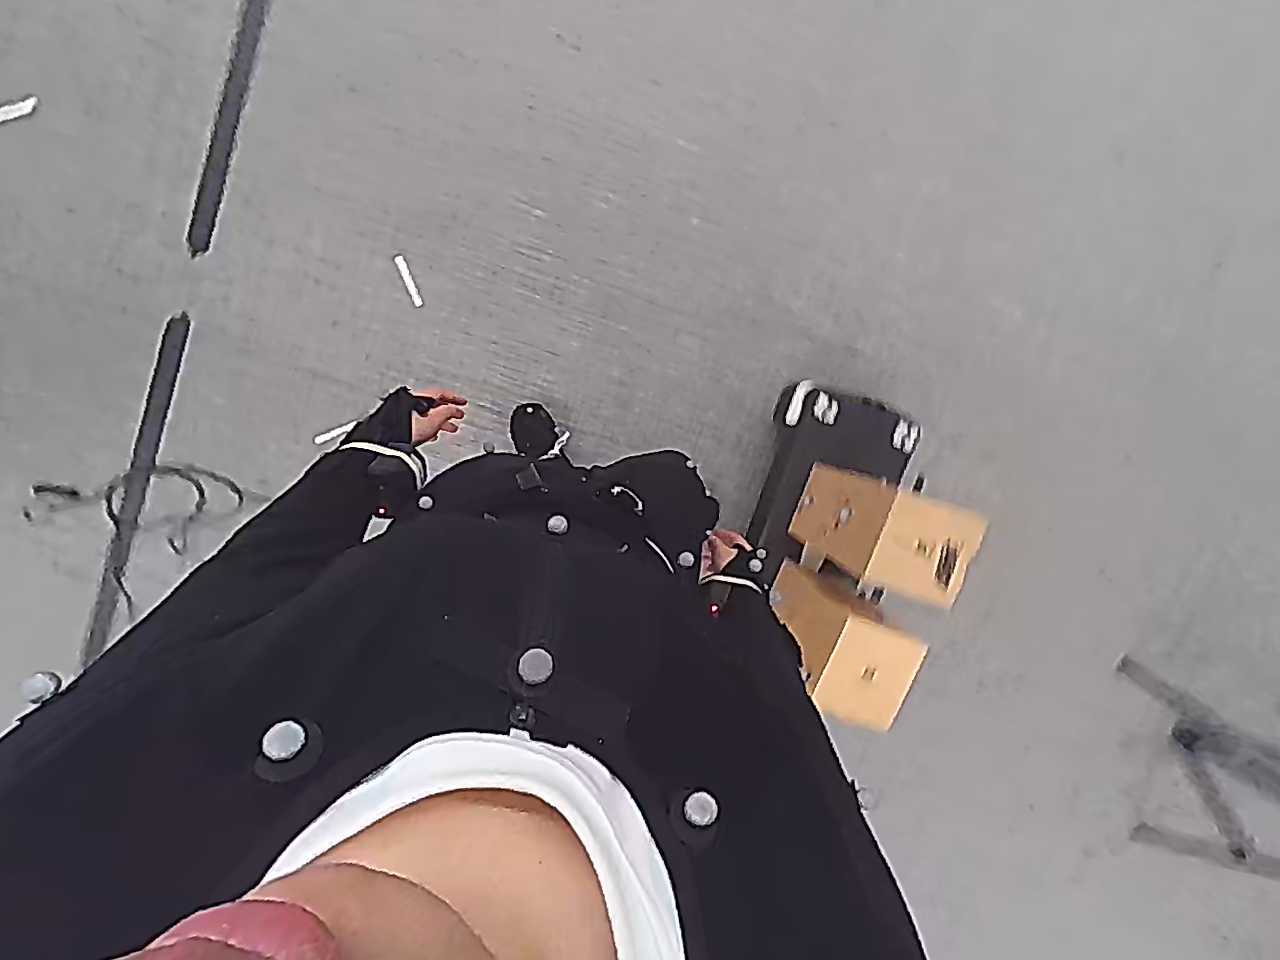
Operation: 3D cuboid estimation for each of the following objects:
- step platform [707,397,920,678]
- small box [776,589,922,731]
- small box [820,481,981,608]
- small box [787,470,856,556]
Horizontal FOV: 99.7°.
[{"bbox_3d":[0.419,0.145,1.343,0.286,0.204,0.684,18,95,-9],"label":"step platform"},{"bbox_3d":[0.382,0.330,1.025,0.168,0.176,0.179,22,96,-8],"label":"small box"},{"bbox_3d":[0.469,0.110,0.999,0.179,0.176,0.168,20,96,-8],"label":"small box"},{"bbox_3d":[0.448,0.087,1.161,0.179,0.176,0.168,20,96,-8],"label":"small box"}]
